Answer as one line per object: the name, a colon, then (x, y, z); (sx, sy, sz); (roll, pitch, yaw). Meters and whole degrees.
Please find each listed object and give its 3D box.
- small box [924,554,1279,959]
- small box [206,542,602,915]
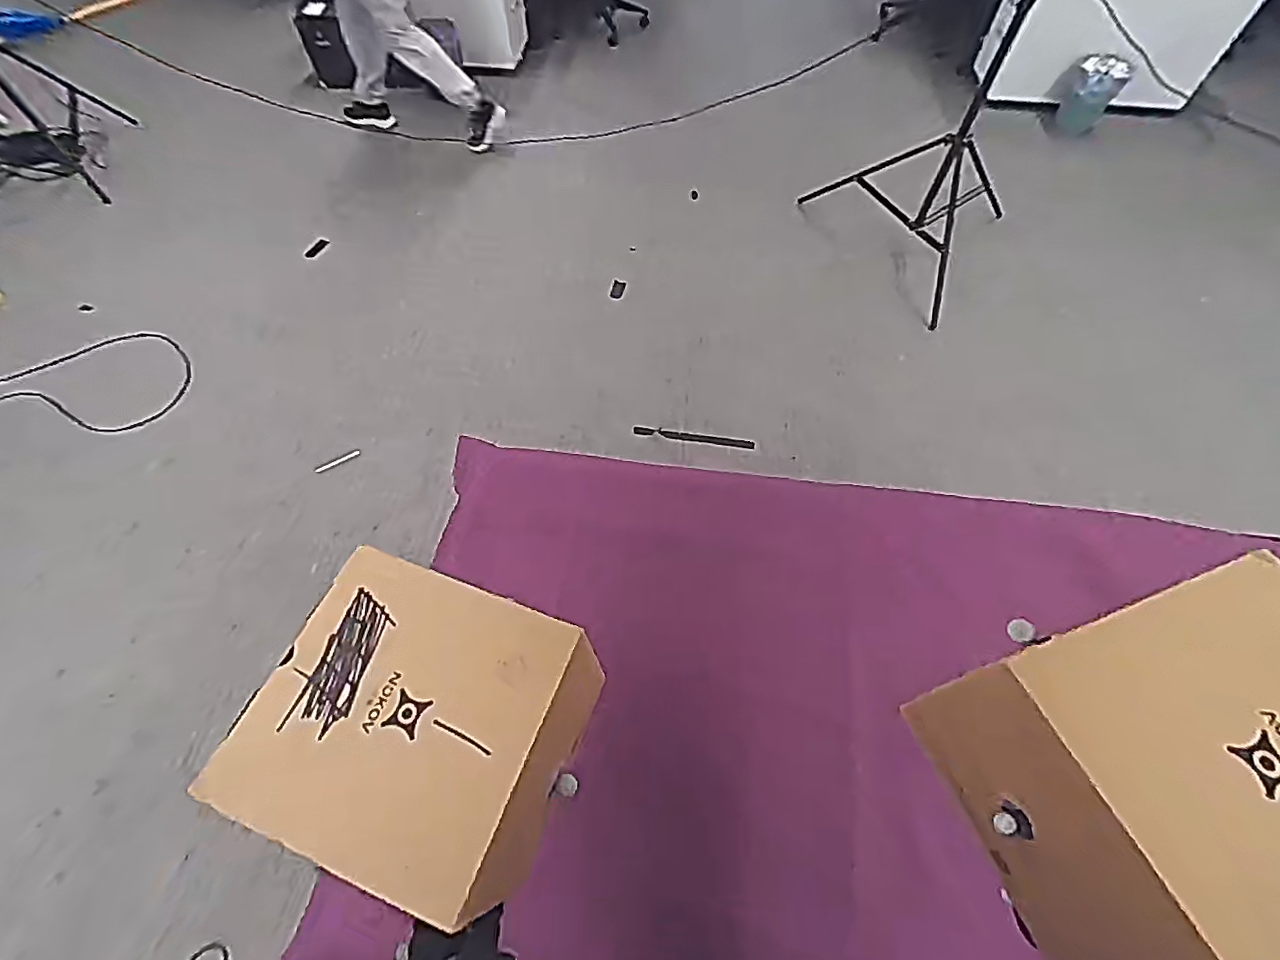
small box: (0.304, 0.174, 0.324); (0.179, 0.176, 0.168); (-19, 60, -7)
small box: (-0.141, 0.174, 0.399); (0.179, 0.176, 0.168); (18, 62, 11)
